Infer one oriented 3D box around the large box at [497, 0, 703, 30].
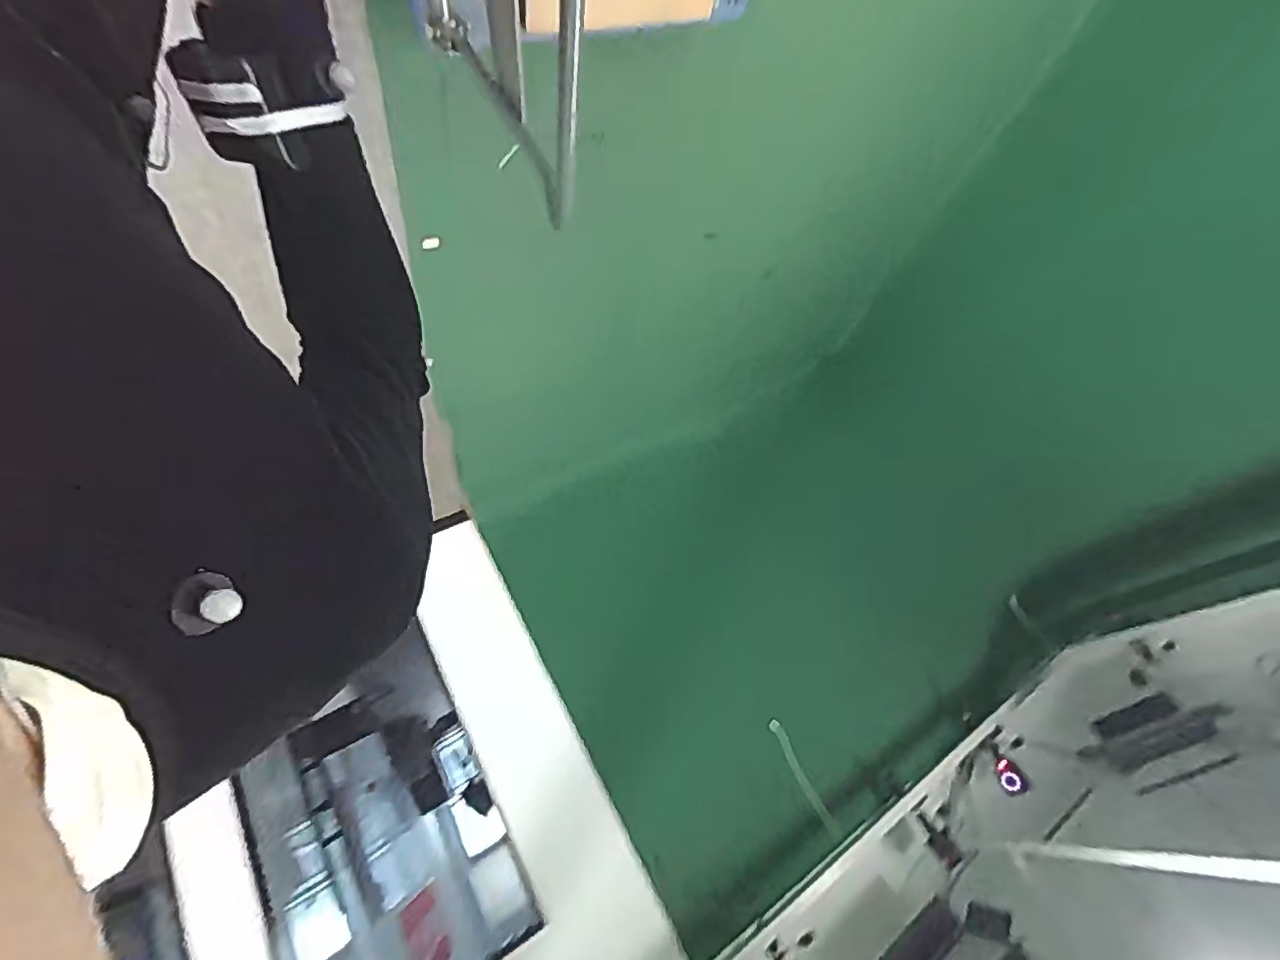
[{"bbox_3d":[-0.100,-1.049,0.927,0.408,0.320,0.320,-26,159,-22],"label":"large box"}]
